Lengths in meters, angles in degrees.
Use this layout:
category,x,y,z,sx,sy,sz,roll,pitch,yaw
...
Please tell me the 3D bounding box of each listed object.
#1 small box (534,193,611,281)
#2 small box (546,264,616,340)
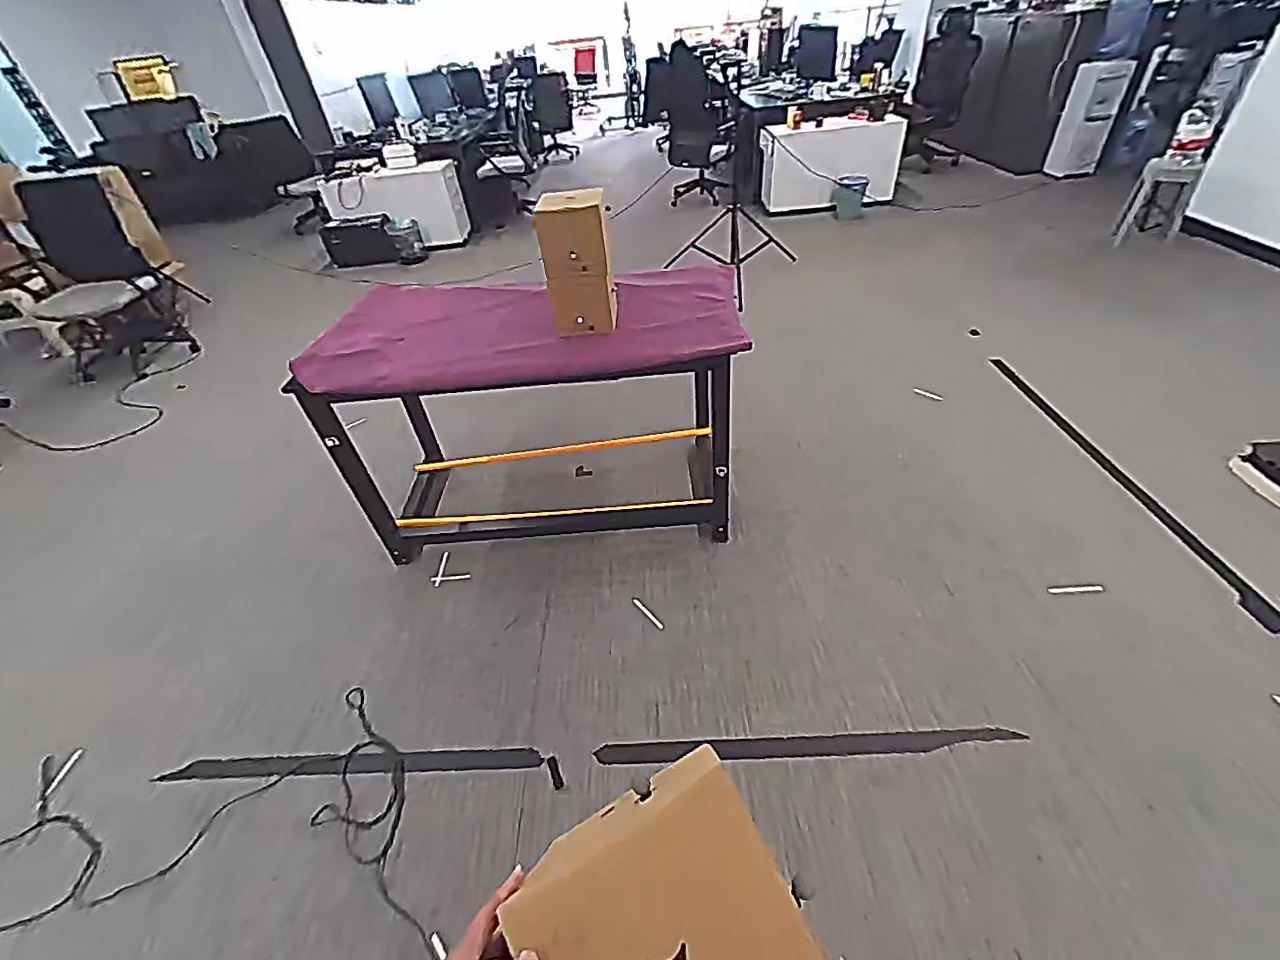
category,x,y,z,sx,sy,sz,roll,pitch,yaw
small box,-0.169,-0.640,1.428,0.168,0.176,0.179,-4,41,4
small box,-0.160,-0.515,1.535,0.168,0.176,0.179,-4,41,4
